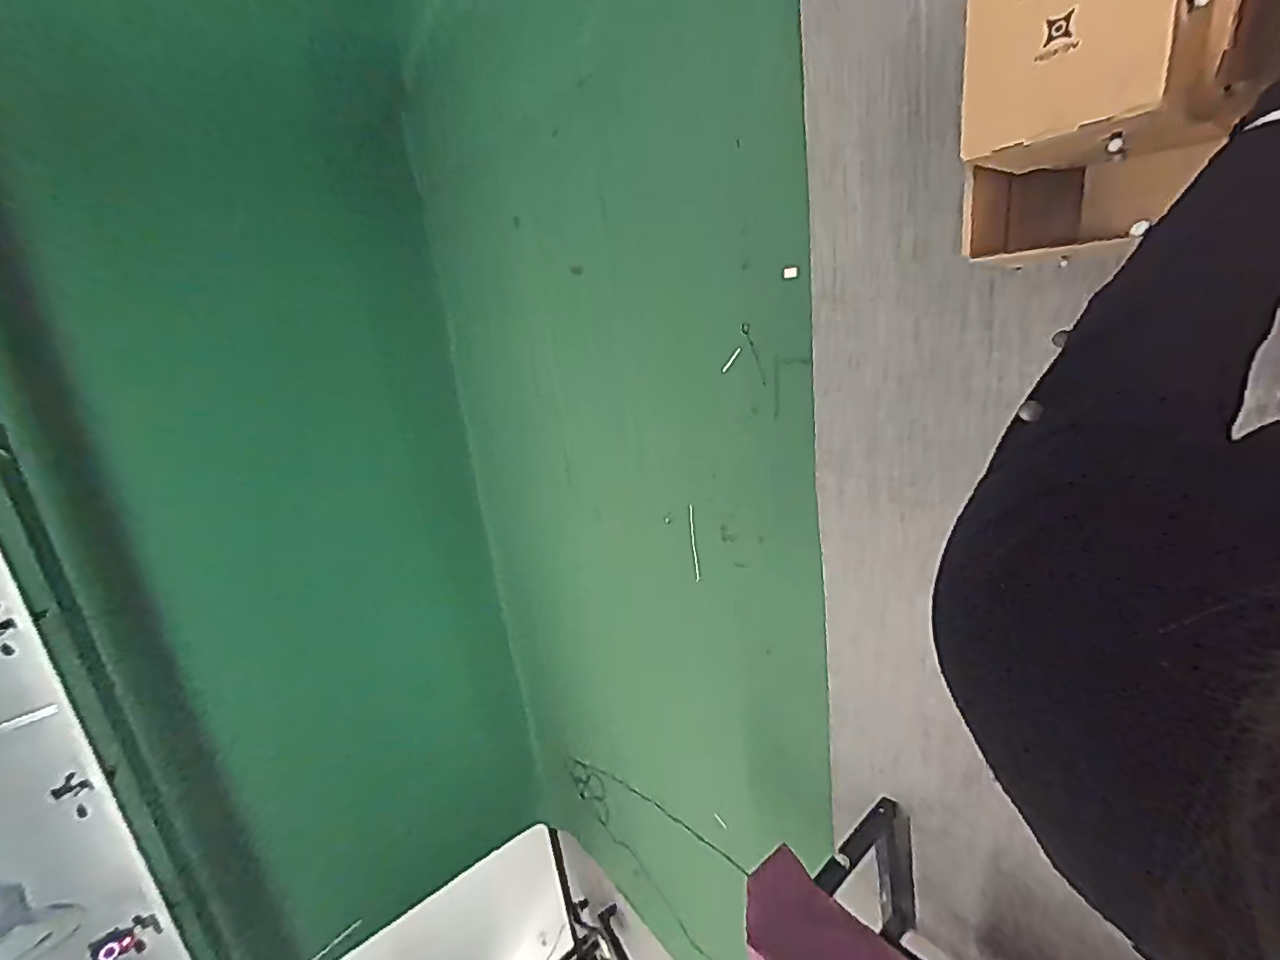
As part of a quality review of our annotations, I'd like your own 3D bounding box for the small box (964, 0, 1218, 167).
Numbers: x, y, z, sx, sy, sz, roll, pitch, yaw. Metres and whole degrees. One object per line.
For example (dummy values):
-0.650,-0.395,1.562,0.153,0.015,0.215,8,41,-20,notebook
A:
0.466,-0.441,0.562,0.168,0.176,0.179,15,116,50,small box
